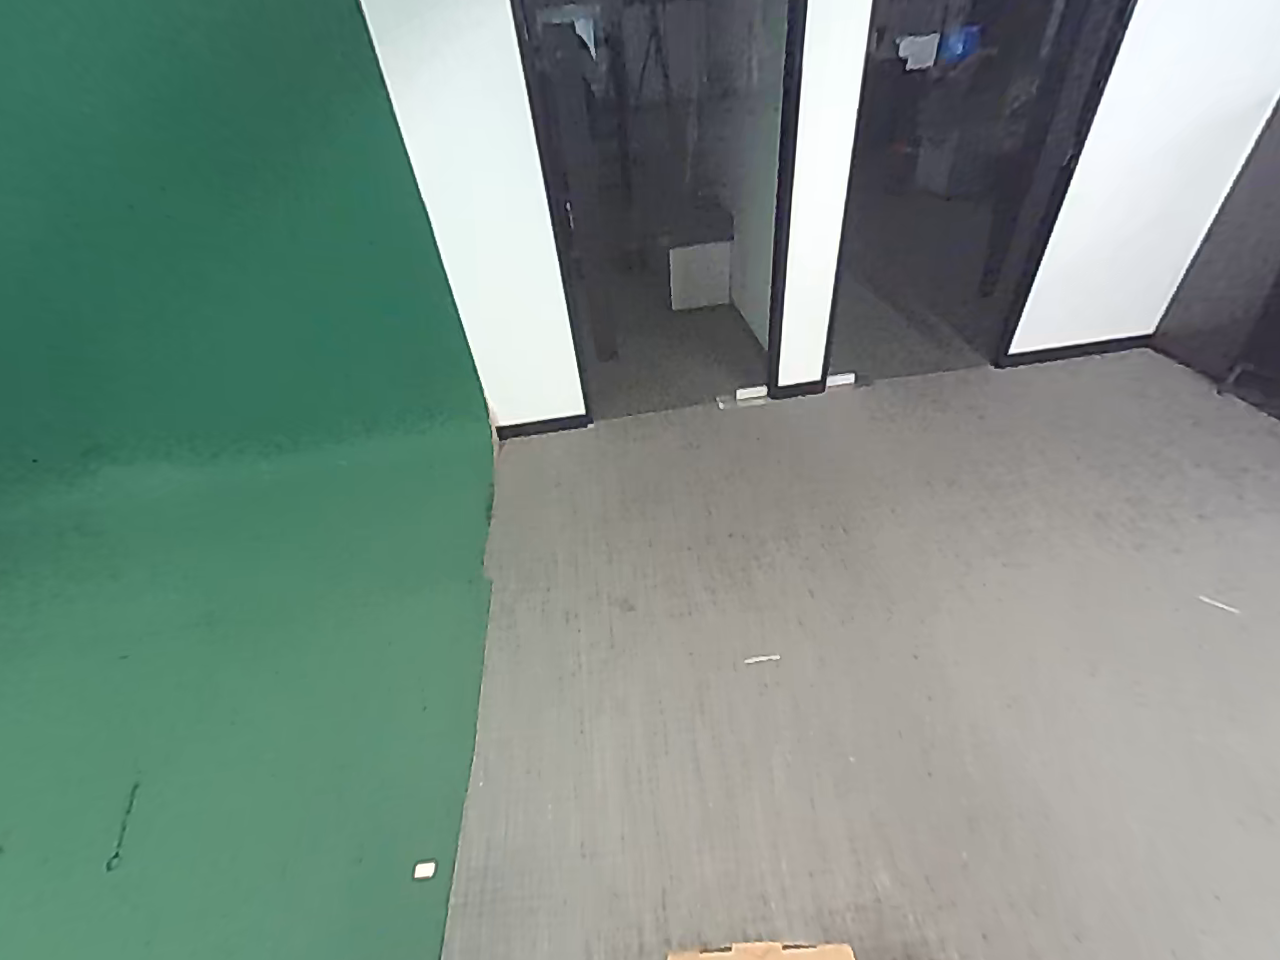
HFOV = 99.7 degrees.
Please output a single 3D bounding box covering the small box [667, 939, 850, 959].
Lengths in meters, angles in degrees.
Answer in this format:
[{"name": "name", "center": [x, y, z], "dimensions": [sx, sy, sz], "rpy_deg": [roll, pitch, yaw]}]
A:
[{"name": "small box", "center": [0.106, 0.530, 0.467], "dimensions": [0.168, 0.176, 0.179], "rpy_deg": [-2, 40, 0]}]
